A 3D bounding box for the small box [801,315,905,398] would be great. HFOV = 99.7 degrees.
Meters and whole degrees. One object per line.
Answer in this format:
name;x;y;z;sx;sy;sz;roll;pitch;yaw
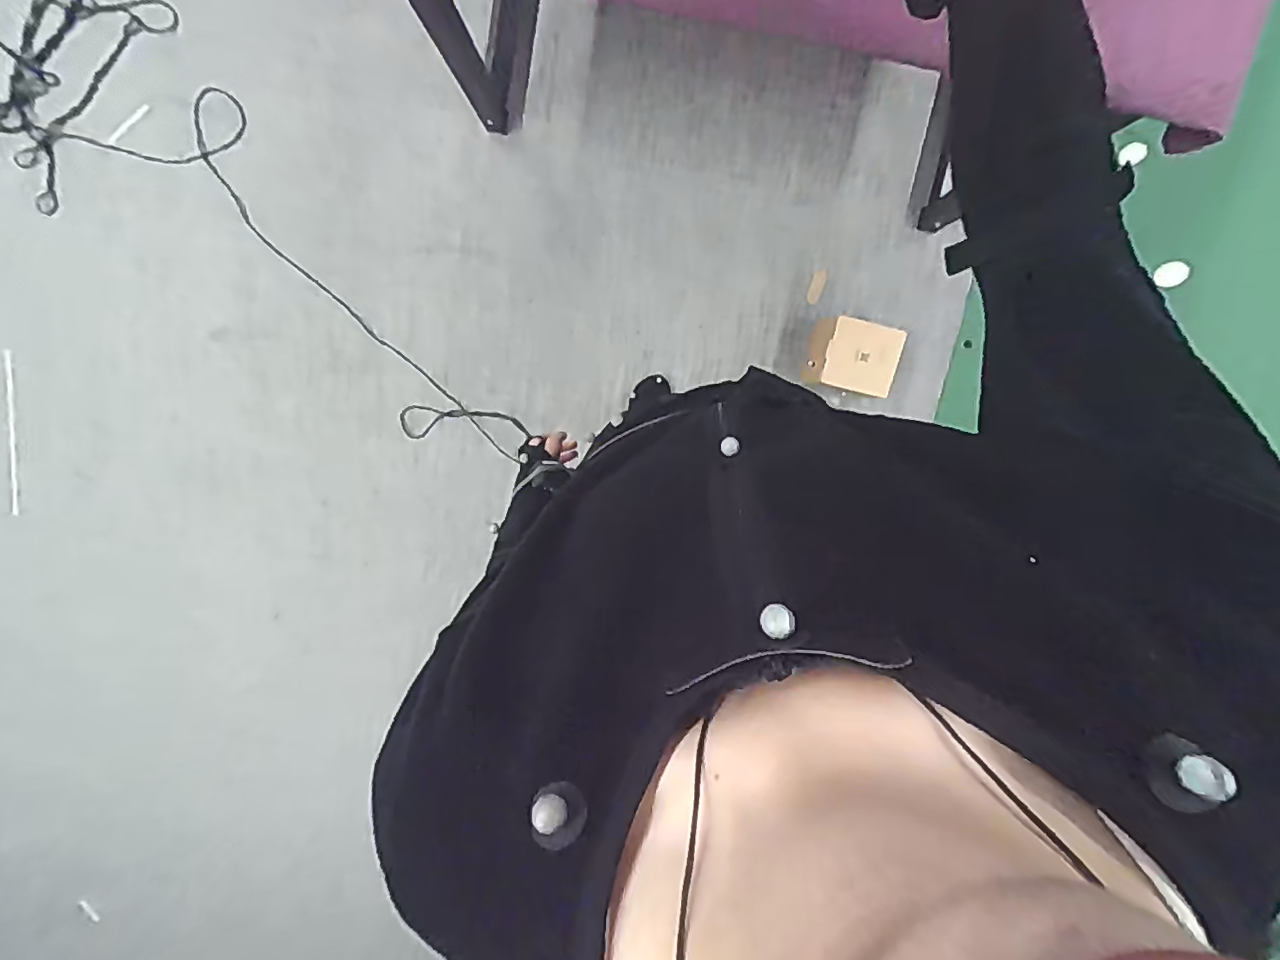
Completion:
small box;0.532;-0.308;1.380;0.179;0.176;0.168;14;99;-3
